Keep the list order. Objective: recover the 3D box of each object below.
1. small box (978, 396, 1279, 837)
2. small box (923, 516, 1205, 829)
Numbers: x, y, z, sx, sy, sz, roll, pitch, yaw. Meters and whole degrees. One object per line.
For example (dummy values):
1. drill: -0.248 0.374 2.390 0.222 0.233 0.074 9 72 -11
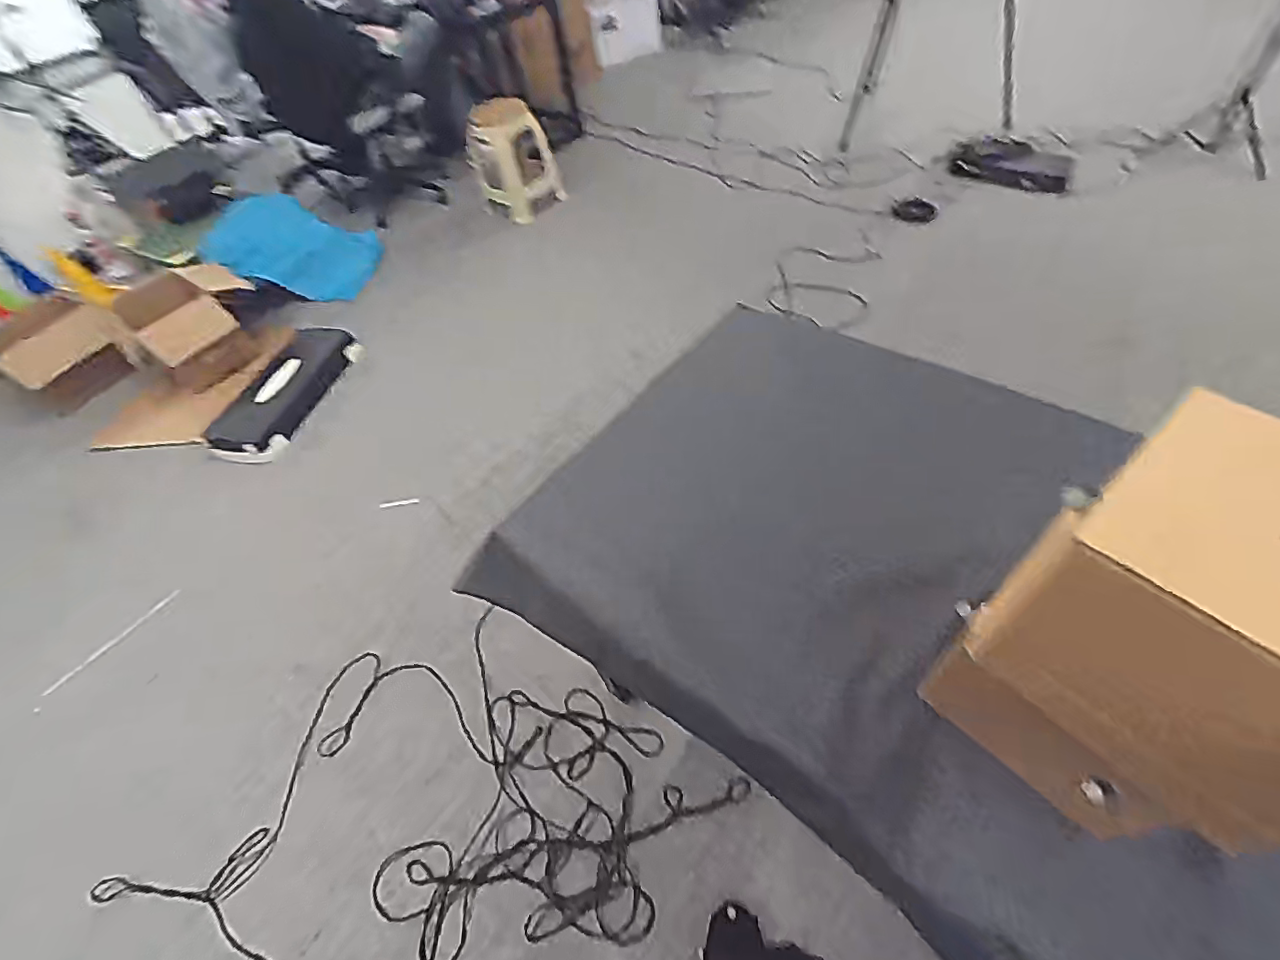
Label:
1. small box: 0.360 0.086 0.339 0.168 0.176 0.179 -36 57 -20
2. small box: 0.391 0.172 0.475 0.168 0.176 0.179 -37 55 -21
